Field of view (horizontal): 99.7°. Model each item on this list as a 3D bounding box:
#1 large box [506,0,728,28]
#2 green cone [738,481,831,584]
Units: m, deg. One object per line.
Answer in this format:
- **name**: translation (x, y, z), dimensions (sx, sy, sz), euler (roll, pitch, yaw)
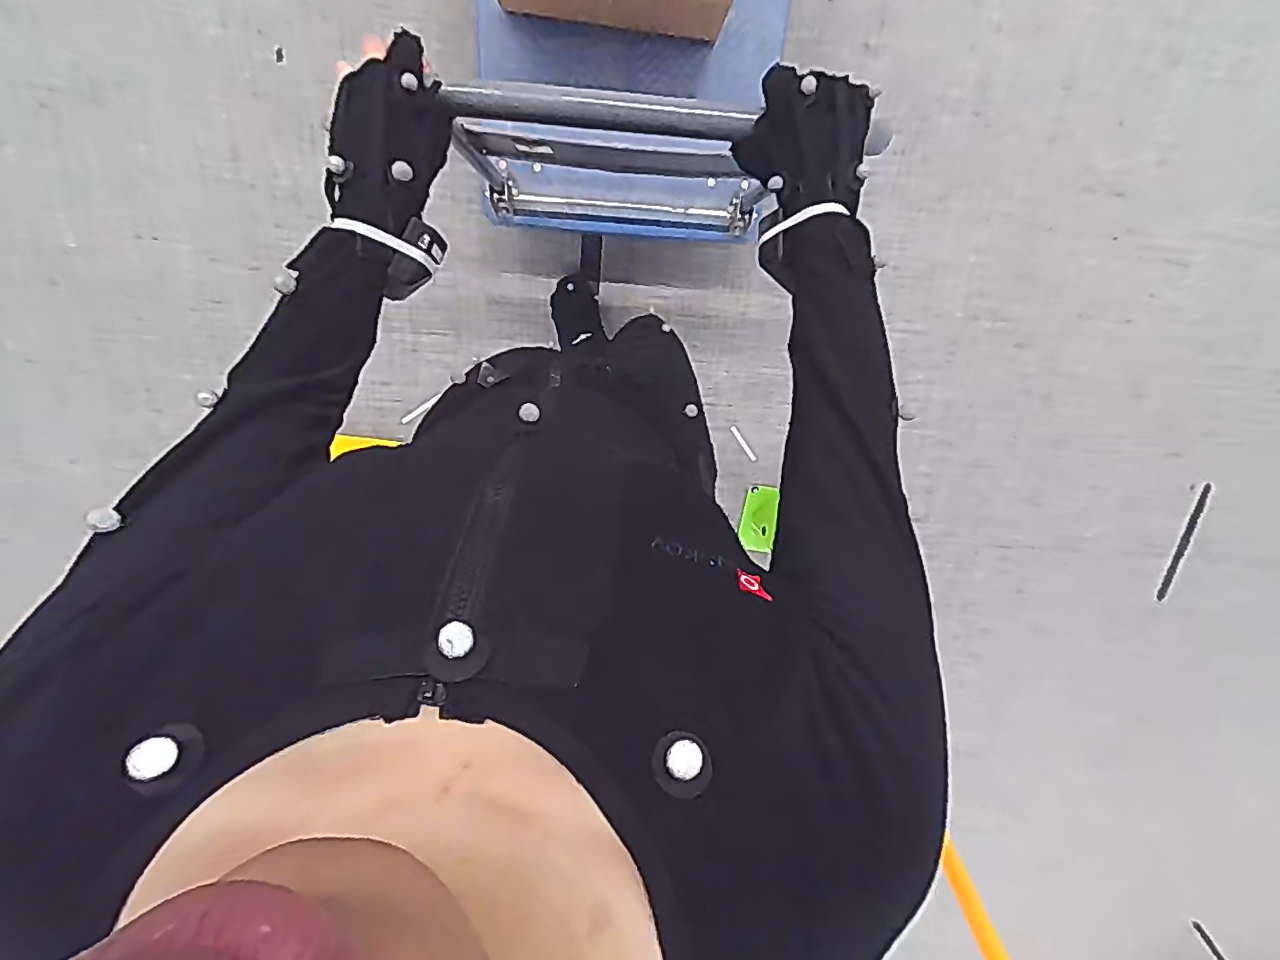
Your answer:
- **large box**: translation (-0.034, -0.952, 0.822), dimensions (0.408, 0.320, 0.320), euler (5, 110, -3)
- **green cone**: translation (0.402, 0.162, 1.403), dimensions (0.202, 0.368, 0.200), euler (7, 110, -6)
